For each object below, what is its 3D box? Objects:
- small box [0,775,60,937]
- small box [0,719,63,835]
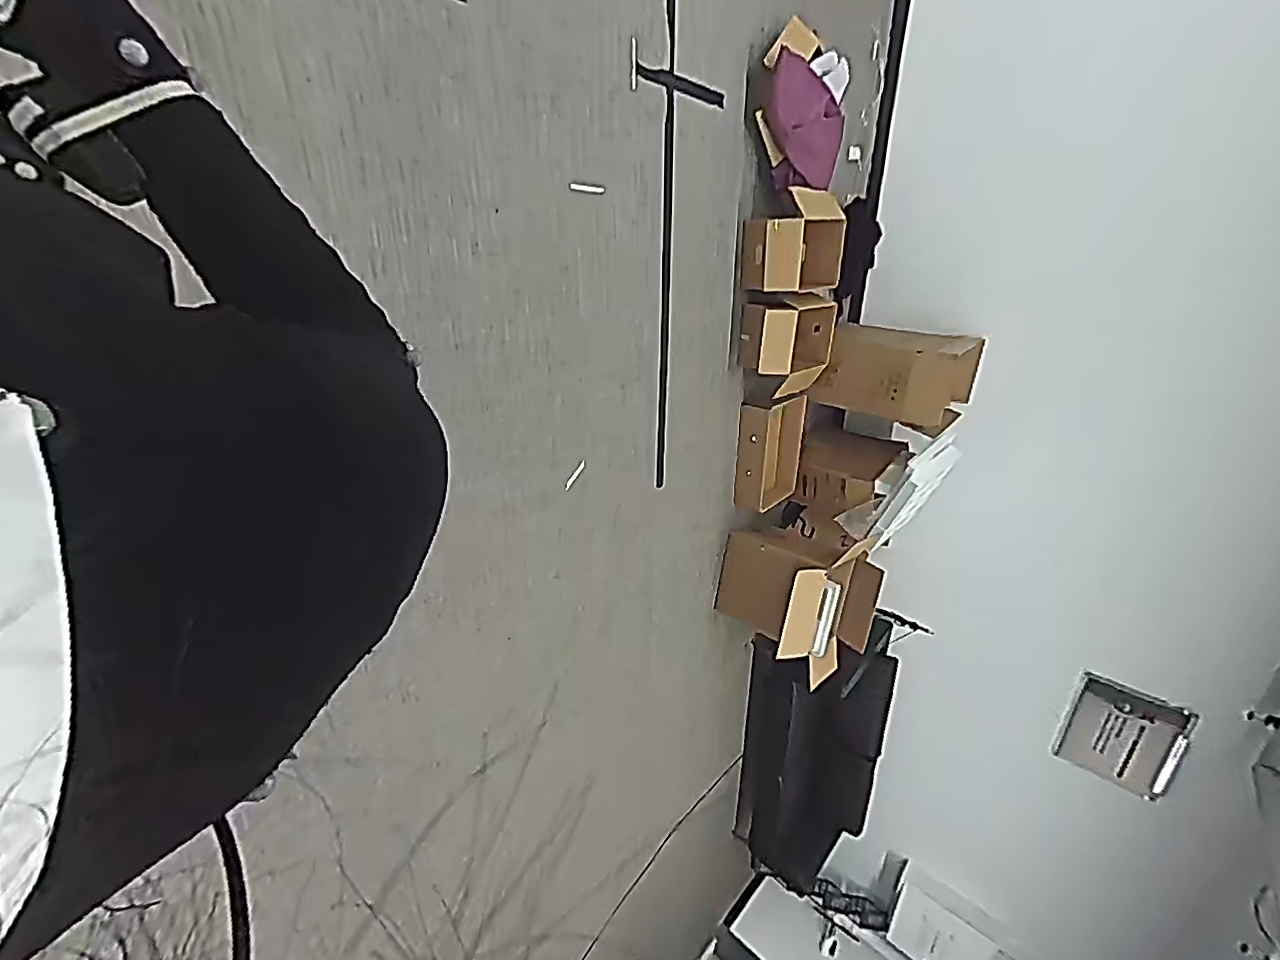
[{"bbox_3d":[-1.081,0.628,0.872,0.168,0.176,0.179,-19,120,-45],"label":"small box"},{"bbox_3d":[-1.195,0.578,0.979,0.168,0.176,0.179,-23,123,-43],"label":"small box"}]
